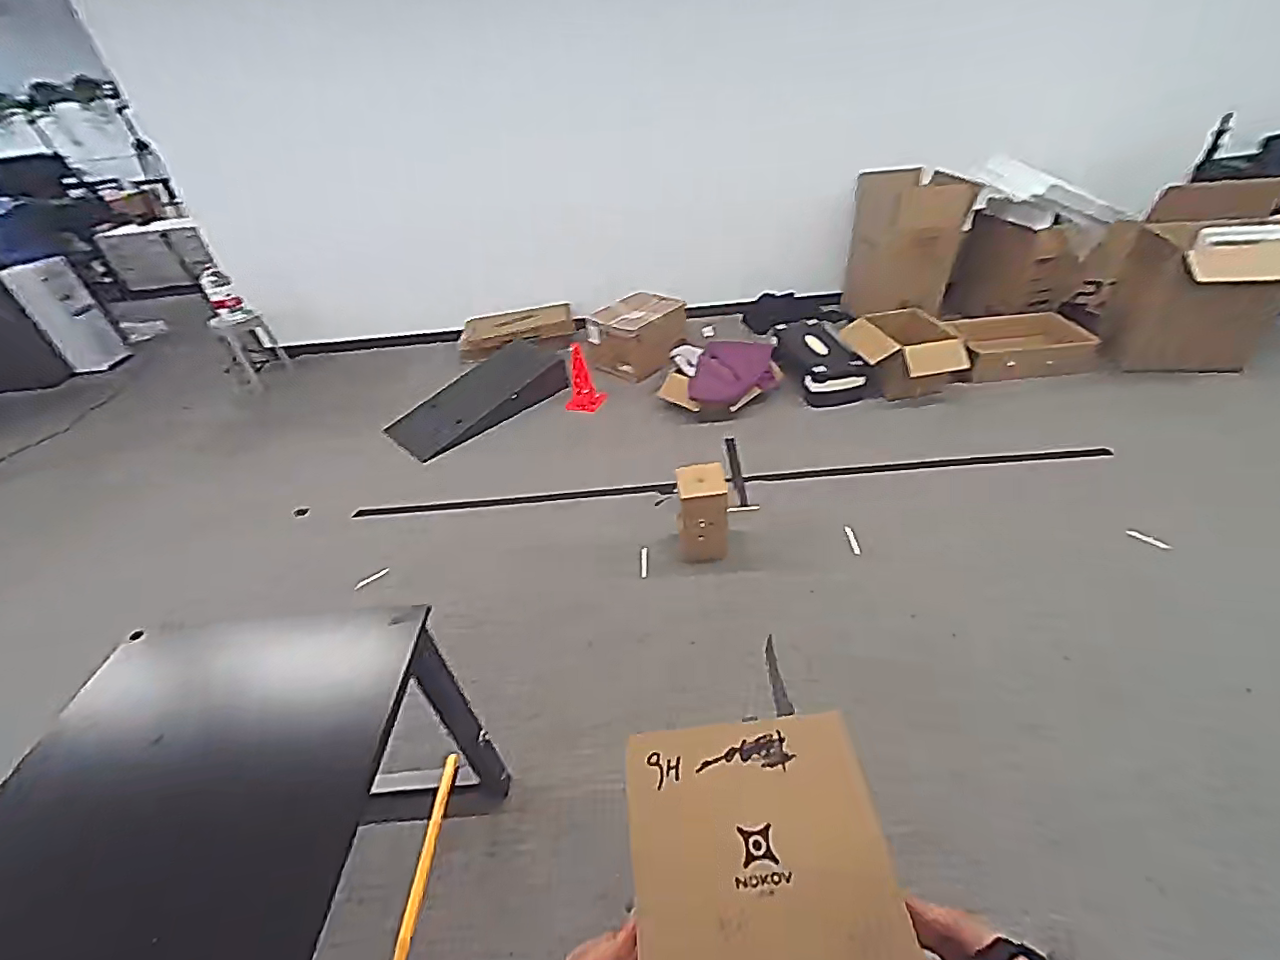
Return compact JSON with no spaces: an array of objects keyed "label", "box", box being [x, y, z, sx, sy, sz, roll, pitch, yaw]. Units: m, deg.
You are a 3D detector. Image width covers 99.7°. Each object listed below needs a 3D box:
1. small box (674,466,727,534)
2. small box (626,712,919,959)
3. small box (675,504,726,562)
[{"label":"small box","box":[0.220,0.073,1.969,0.168,0.176,0.179,-9,39,1]},{"label":"small box","box":[0.085,0.302,0.408,0.168,0.176,0.179,-8,46,1]},{"label":"small box","box":[0.233,0.199,2.071,0.179,0.176,0.168,-6,38,2]}]
